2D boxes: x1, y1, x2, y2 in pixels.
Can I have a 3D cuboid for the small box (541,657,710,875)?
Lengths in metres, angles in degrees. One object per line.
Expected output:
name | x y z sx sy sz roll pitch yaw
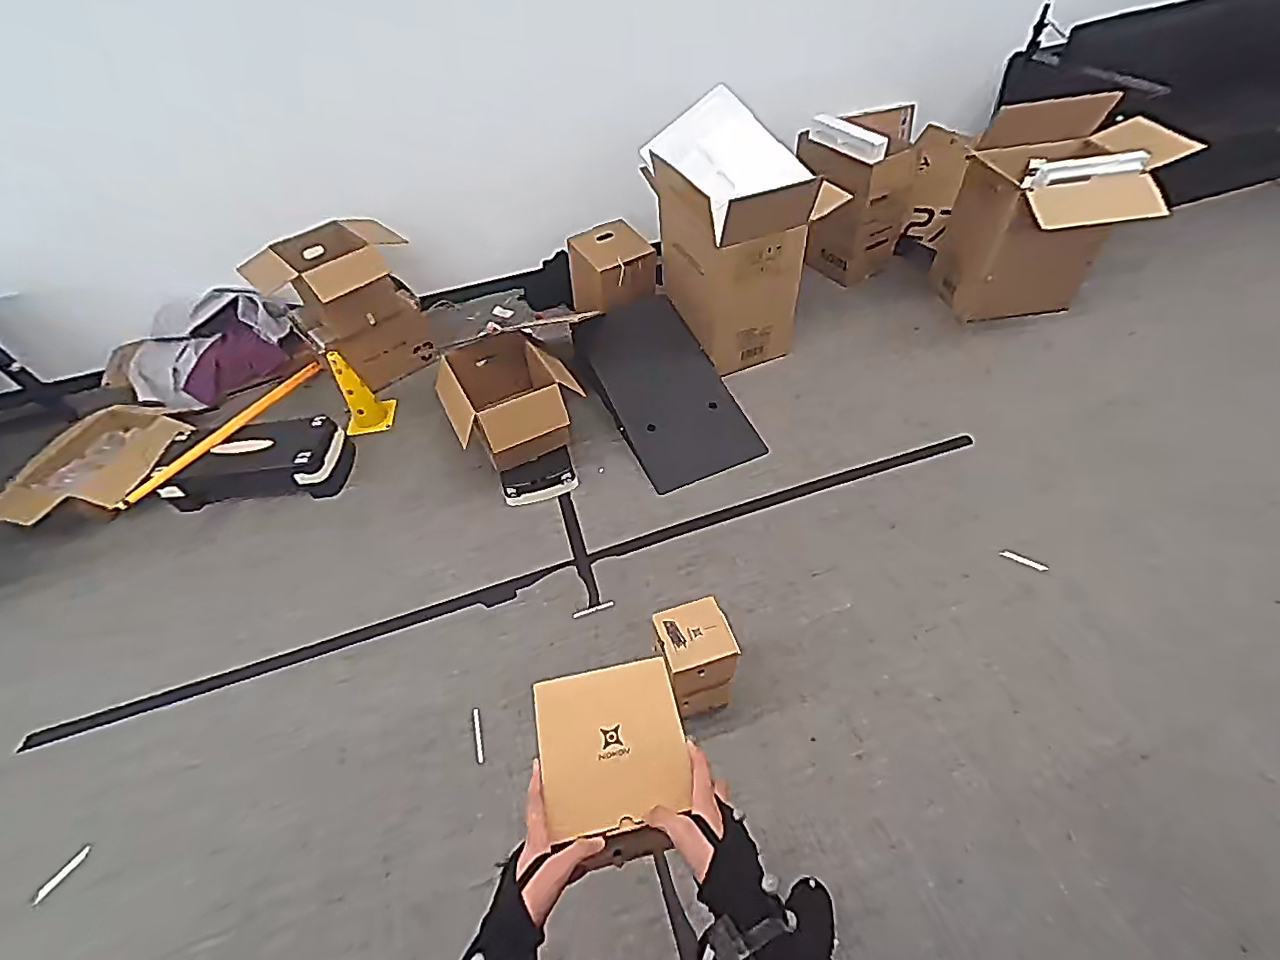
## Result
small box | -0.025 0.348 0.660 0.168 0.176 0.179 -9 47 -9

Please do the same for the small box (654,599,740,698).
small box | 0.146 0.444 1.408 0.179 0.176 0.168 -15 50 -9
